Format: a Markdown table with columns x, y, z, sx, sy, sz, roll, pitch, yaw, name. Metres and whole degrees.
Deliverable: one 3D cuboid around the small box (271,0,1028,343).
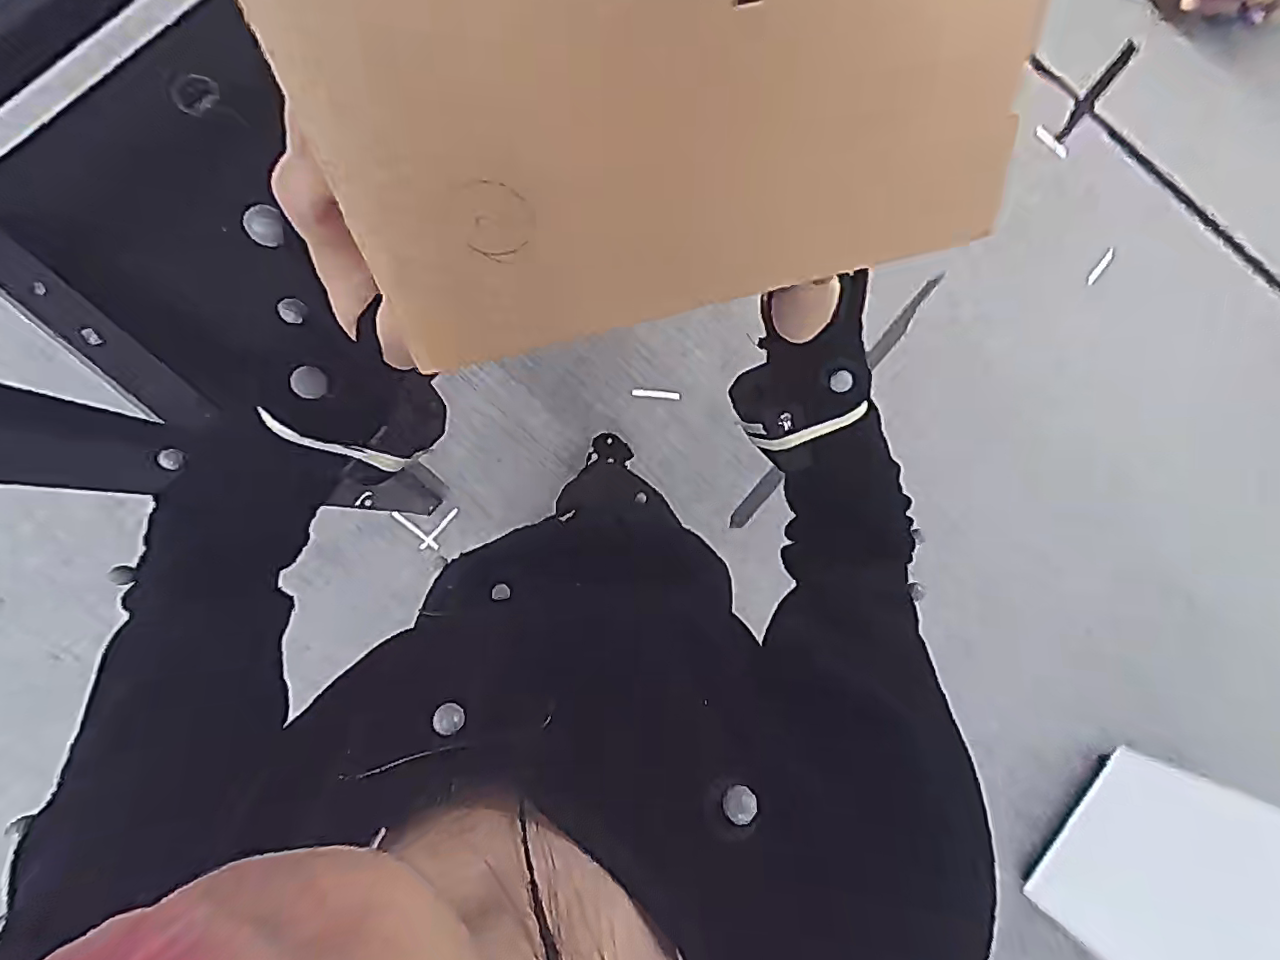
| x | y | z | sx | sy | sz | roll | pitch | yaw | name |
| --- | --- | --- | --- | --- | --- | --- | --- | --- | --- |
| -0.007 | -0.169 | 0.176 | 0.179 | 0.176 | 0.168 | -15 | 129 | -2 | small box |
